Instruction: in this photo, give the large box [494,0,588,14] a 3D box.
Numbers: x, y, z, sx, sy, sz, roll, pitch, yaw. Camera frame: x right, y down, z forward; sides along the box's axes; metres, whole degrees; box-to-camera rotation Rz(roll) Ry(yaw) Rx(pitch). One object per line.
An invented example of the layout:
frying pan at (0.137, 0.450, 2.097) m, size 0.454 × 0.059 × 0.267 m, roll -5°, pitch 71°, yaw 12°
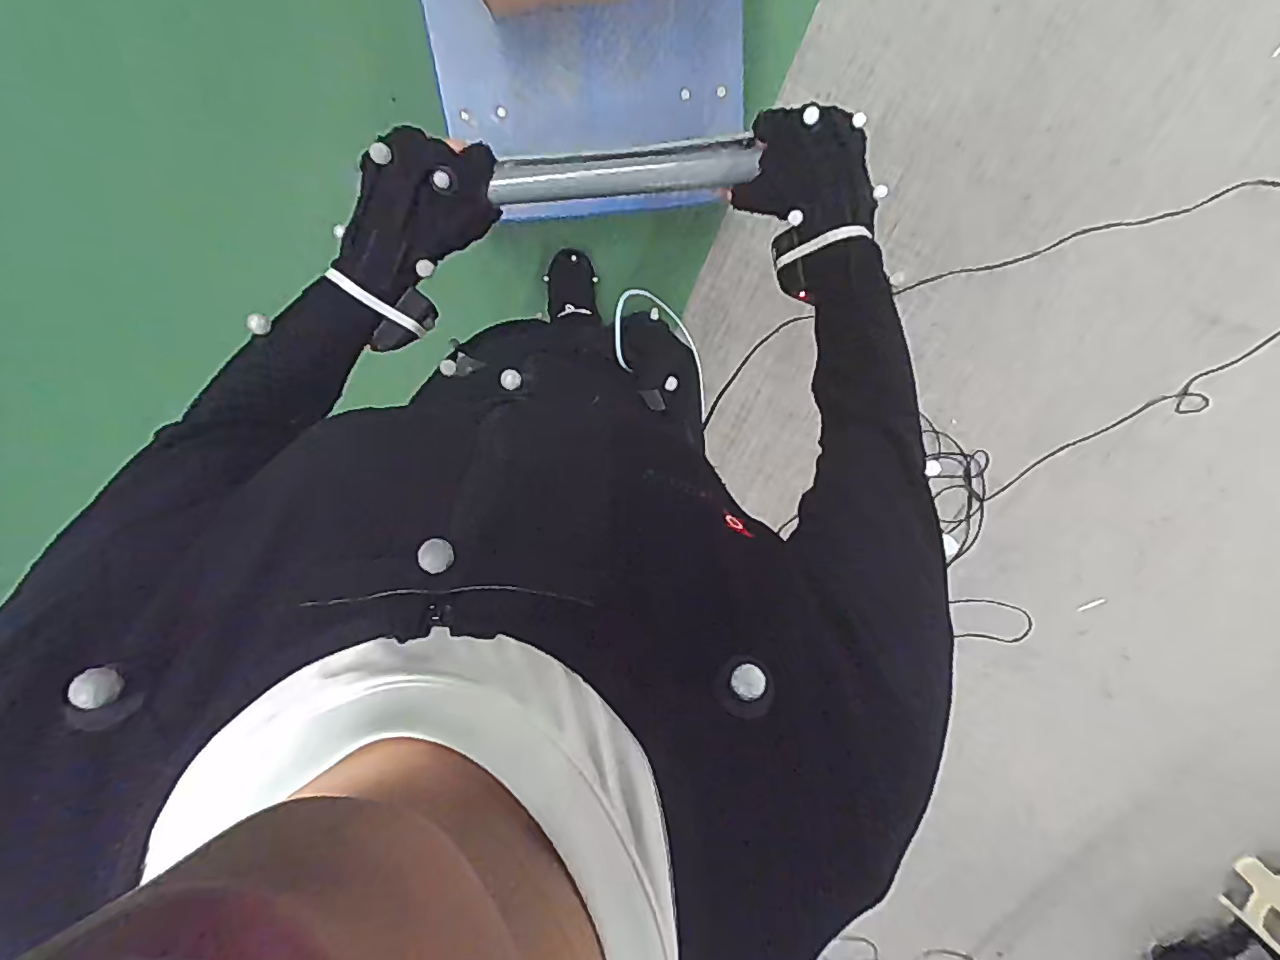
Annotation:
large box at (-0.073, -0.944, 0.778) m, size 0.408 × 0.320 × 0.320 m, roll -8°, pitch 114°, yaw 2°
